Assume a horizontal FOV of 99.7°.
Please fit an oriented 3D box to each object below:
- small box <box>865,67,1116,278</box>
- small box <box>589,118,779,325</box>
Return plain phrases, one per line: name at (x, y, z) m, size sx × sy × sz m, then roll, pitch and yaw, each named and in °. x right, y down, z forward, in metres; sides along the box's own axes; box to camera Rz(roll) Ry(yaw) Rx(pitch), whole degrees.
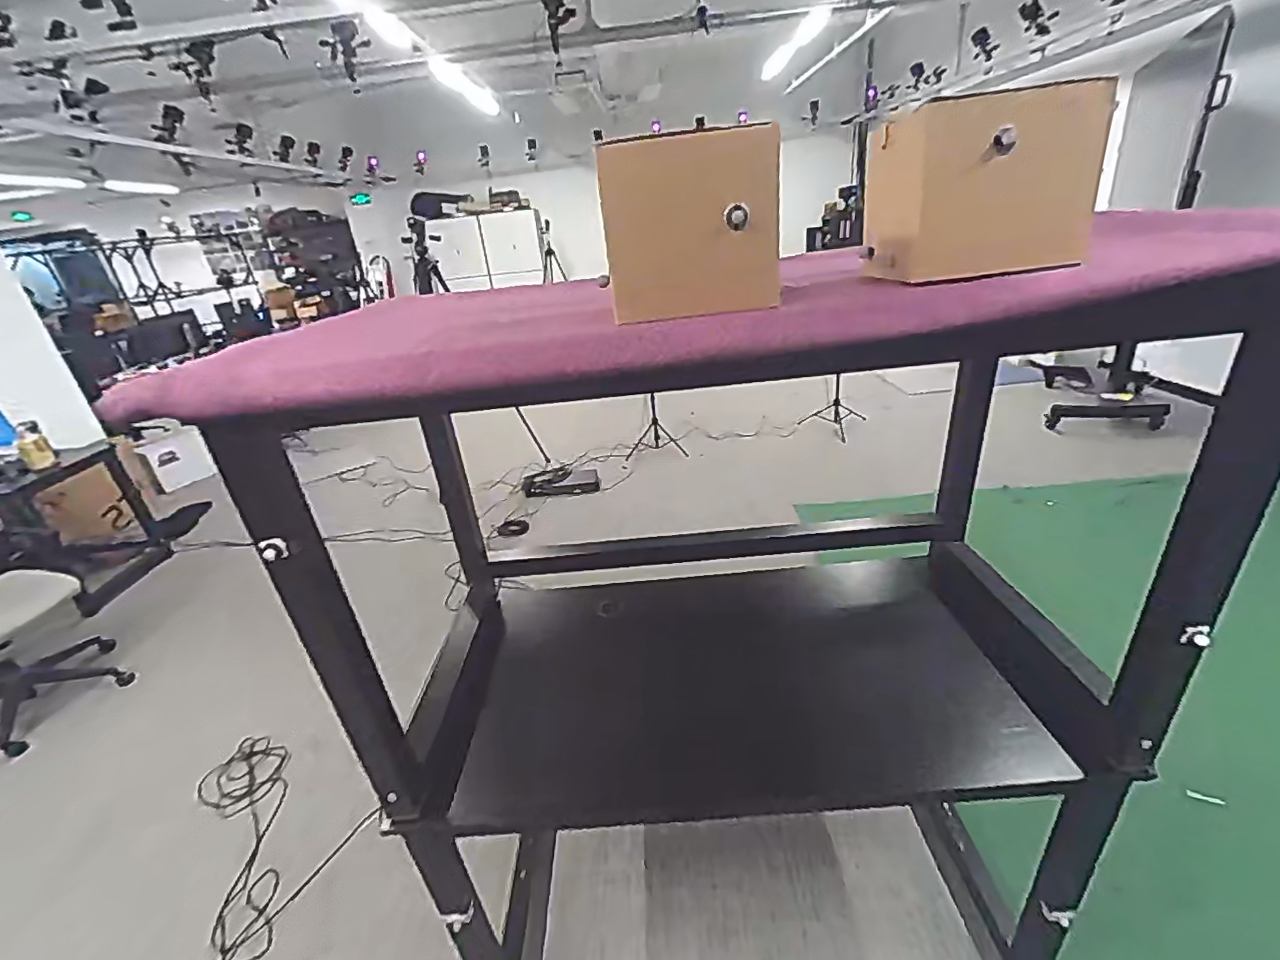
small box at (0.365, -0.325, 0.605) m, size 0.179 × 0.176 × 0.168 m, roll -5°, pitch 24°, yaw 4°
small box at (0.046, -0.278, 0.595) m, size 0.179 × 0.176 × 0.168 m, roll -7°, pitch 26°, yaw 1°
